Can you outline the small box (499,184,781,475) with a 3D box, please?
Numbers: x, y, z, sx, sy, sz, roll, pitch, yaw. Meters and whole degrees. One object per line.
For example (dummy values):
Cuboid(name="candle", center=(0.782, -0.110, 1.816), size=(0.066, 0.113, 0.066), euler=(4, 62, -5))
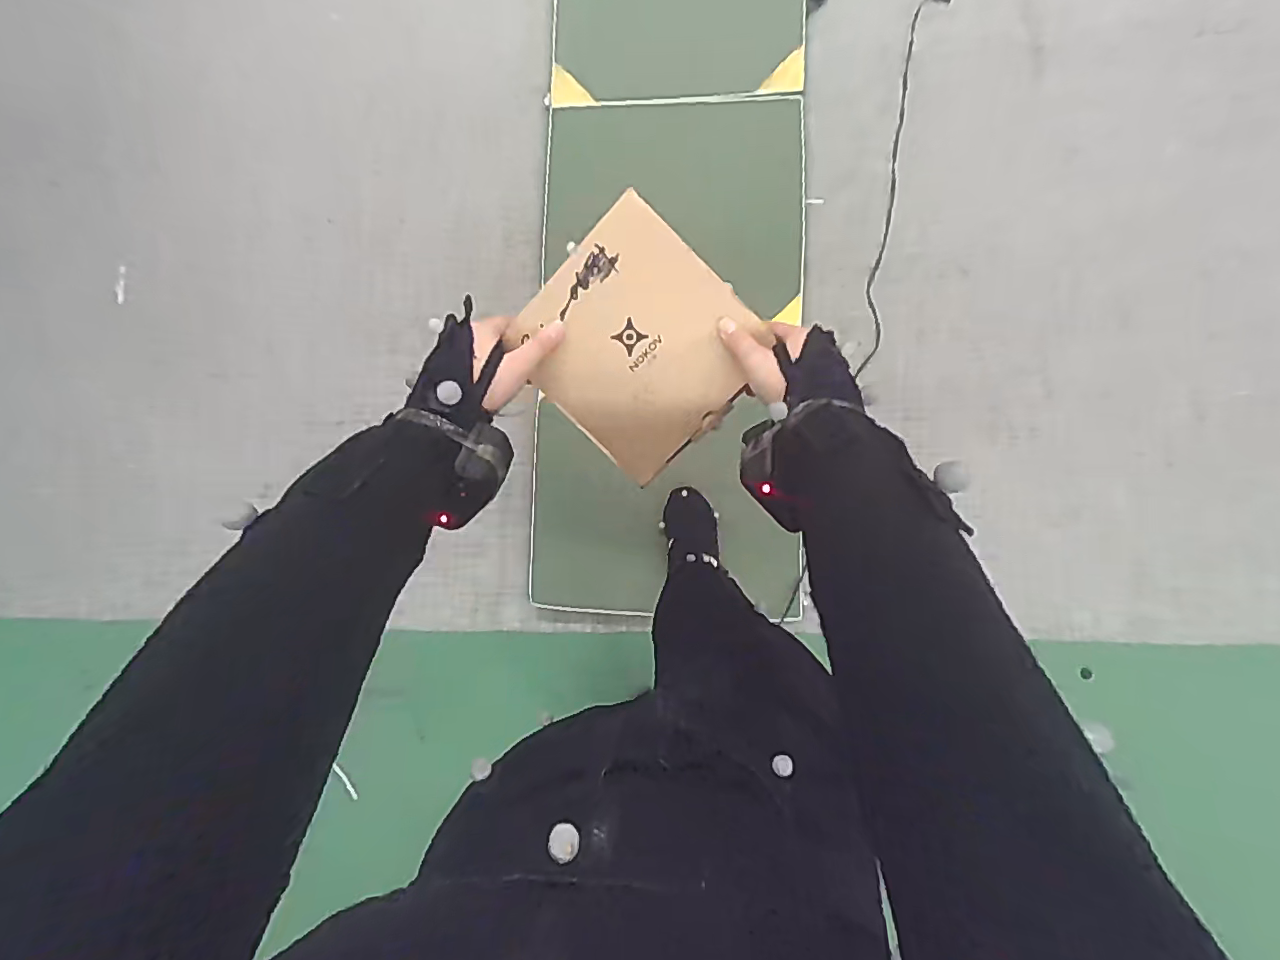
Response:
Cuboid(name="small box", center=(0.005, -0.134, 0.519), size=(0.179, 0.176, 0.168), euler=(45, 102, -5))
